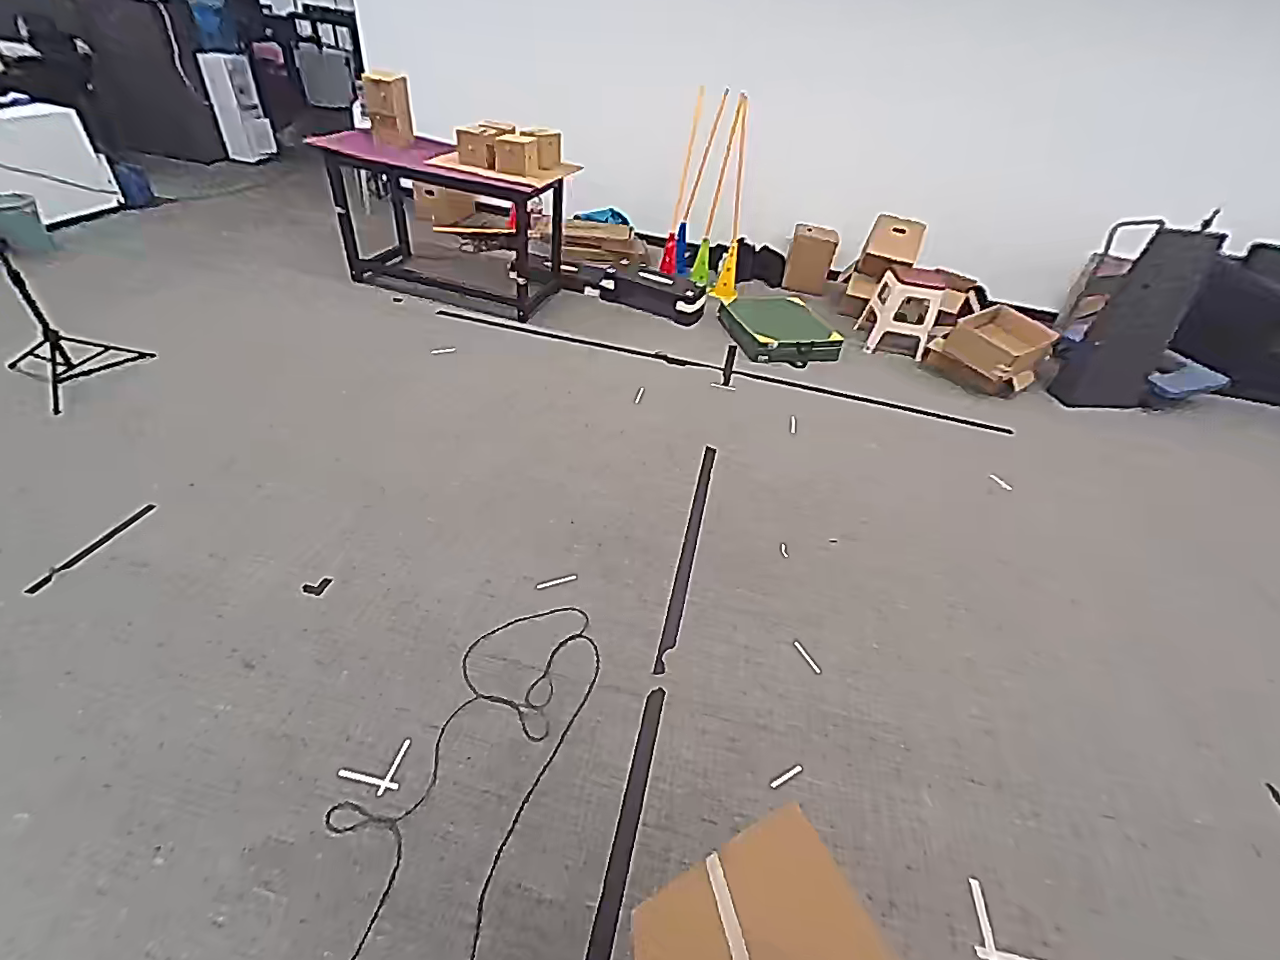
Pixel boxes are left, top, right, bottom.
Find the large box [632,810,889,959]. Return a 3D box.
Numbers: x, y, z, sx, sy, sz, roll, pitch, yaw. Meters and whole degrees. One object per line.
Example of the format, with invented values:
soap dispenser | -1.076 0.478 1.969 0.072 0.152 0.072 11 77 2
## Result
large box | 0.216 0.742 0.677 0.320 0.320 0.408 -33 7 -3
